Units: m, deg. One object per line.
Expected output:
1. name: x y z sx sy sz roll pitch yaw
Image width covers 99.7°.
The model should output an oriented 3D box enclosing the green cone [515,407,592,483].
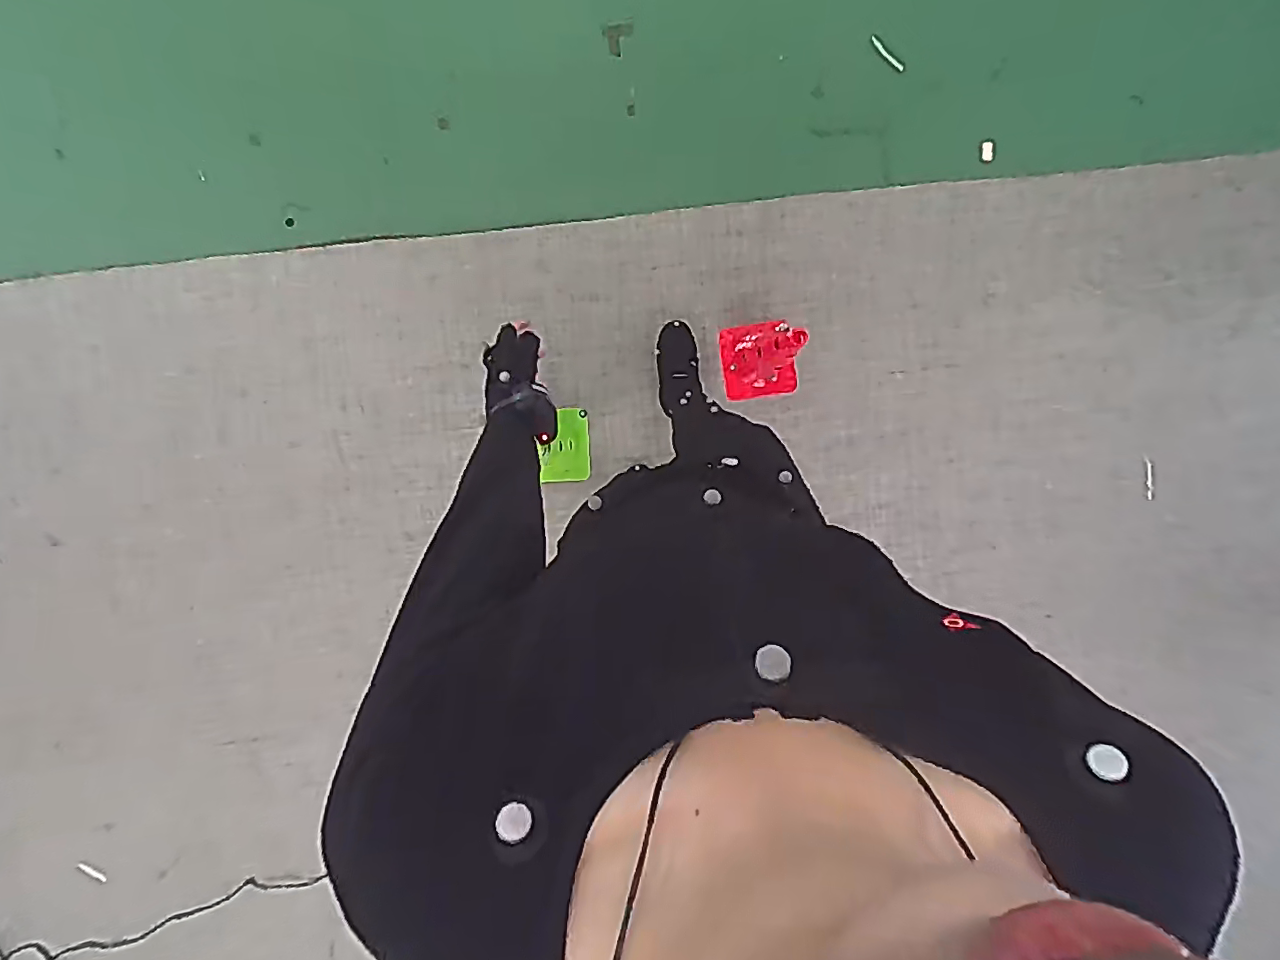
1. green cone: -0.234 -0.079 1.305 0.200 0.368 0.202 -4 95 -1
